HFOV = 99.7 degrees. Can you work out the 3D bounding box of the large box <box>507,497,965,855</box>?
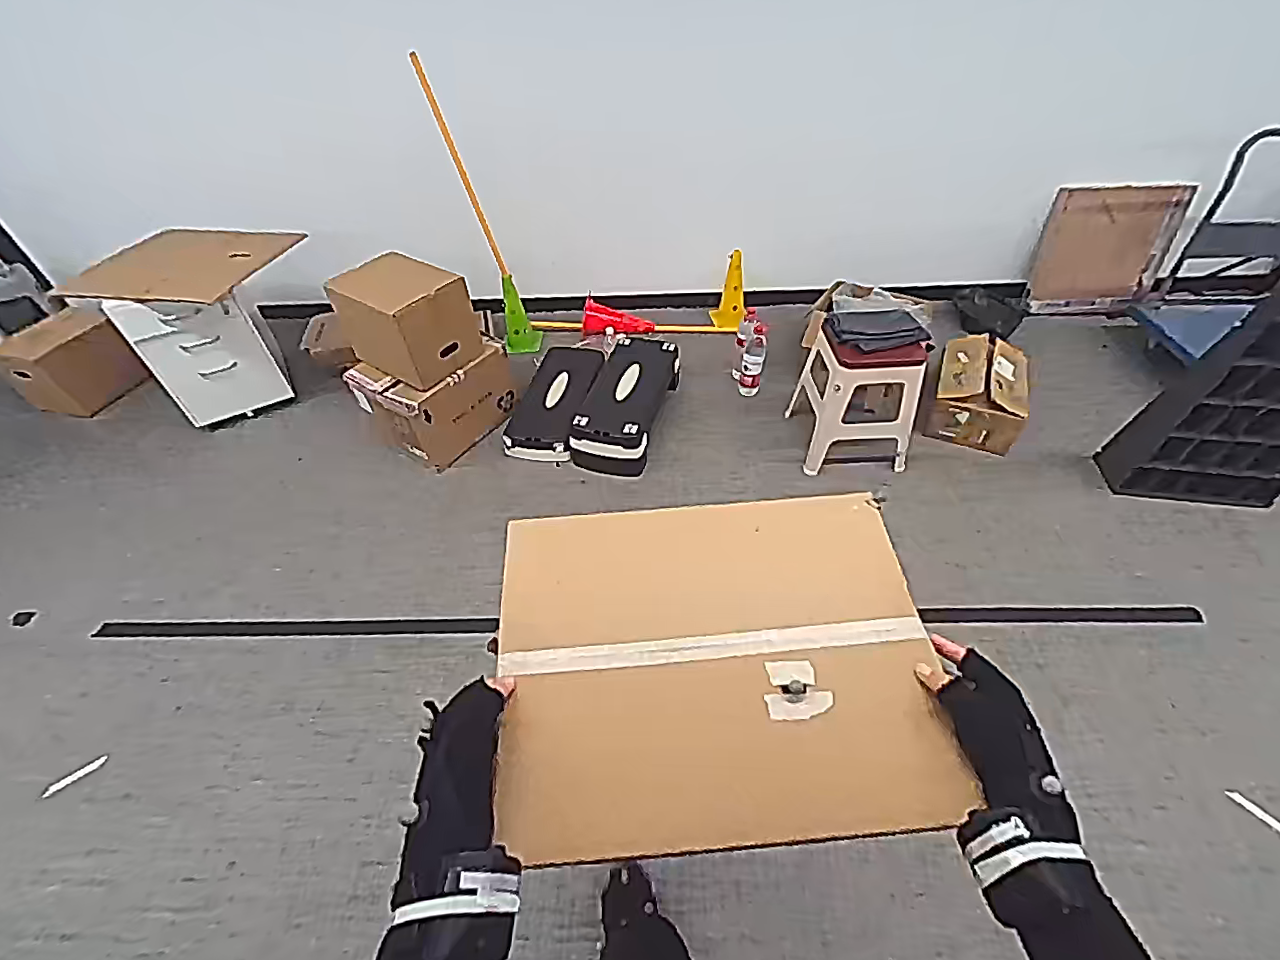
[{"bbox_3d":[0.072,0.247,0.660,0.408,0.320,0.320,-5,57,-2],"label":"large box"}]
